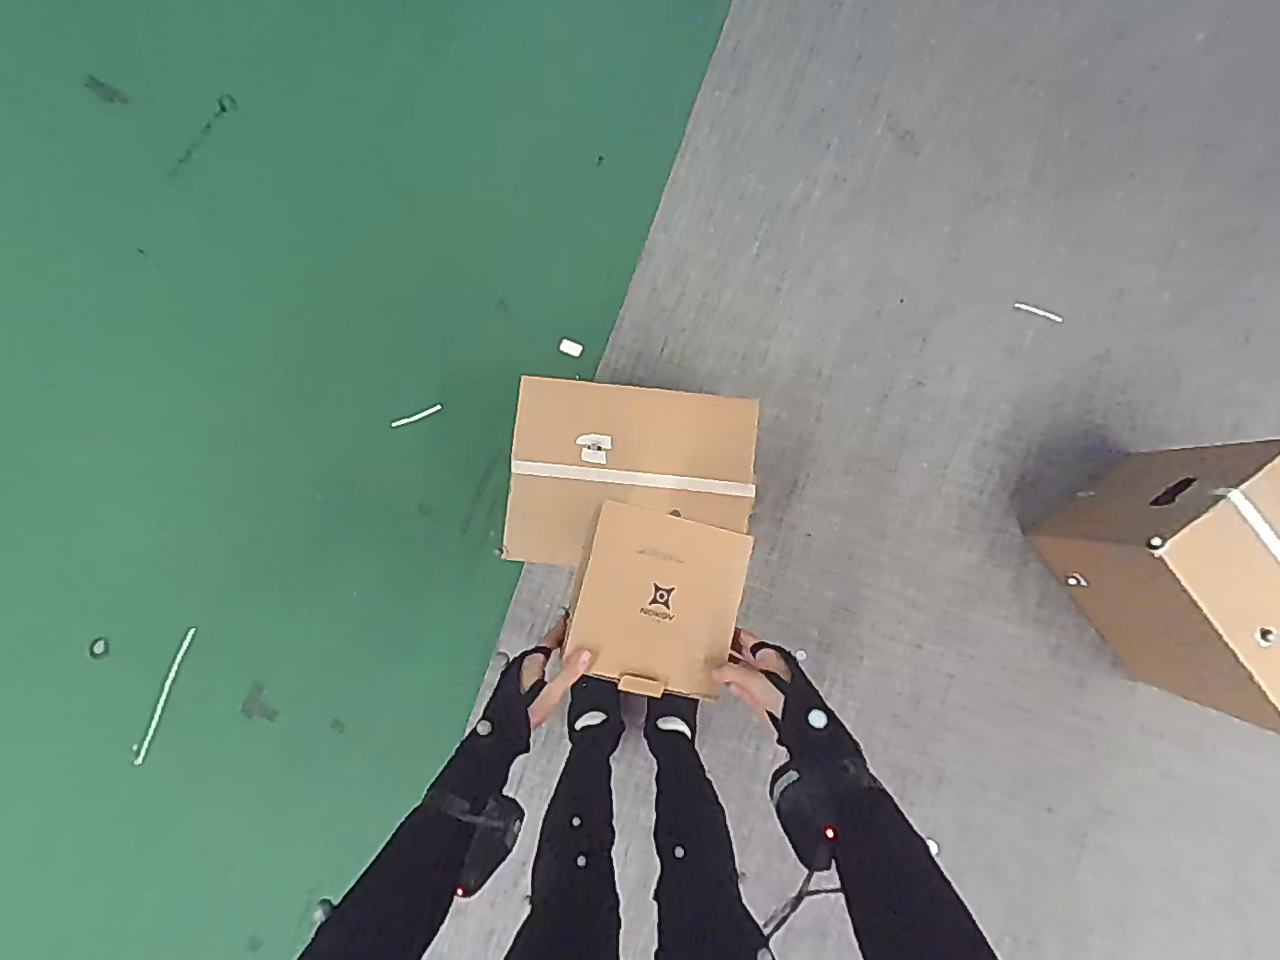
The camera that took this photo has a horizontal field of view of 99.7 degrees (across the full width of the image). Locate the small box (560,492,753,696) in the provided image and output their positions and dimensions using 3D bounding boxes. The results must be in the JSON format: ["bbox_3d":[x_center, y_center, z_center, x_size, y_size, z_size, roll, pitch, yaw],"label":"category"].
[{"bbox_3d":[0.011,0.123,0.627,0.168,0.176,0.179,15,82,-7],"label":"small box"}]

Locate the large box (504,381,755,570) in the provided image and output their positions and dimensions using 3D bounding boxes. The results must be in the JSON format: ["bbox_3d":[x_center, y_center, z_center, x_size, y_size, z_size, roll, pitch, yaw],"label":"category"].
[{"bbox_3d":[-0.011,0.007,1.046,0.408,0.320,0.320,6,87,2],"label":"large box"}]
